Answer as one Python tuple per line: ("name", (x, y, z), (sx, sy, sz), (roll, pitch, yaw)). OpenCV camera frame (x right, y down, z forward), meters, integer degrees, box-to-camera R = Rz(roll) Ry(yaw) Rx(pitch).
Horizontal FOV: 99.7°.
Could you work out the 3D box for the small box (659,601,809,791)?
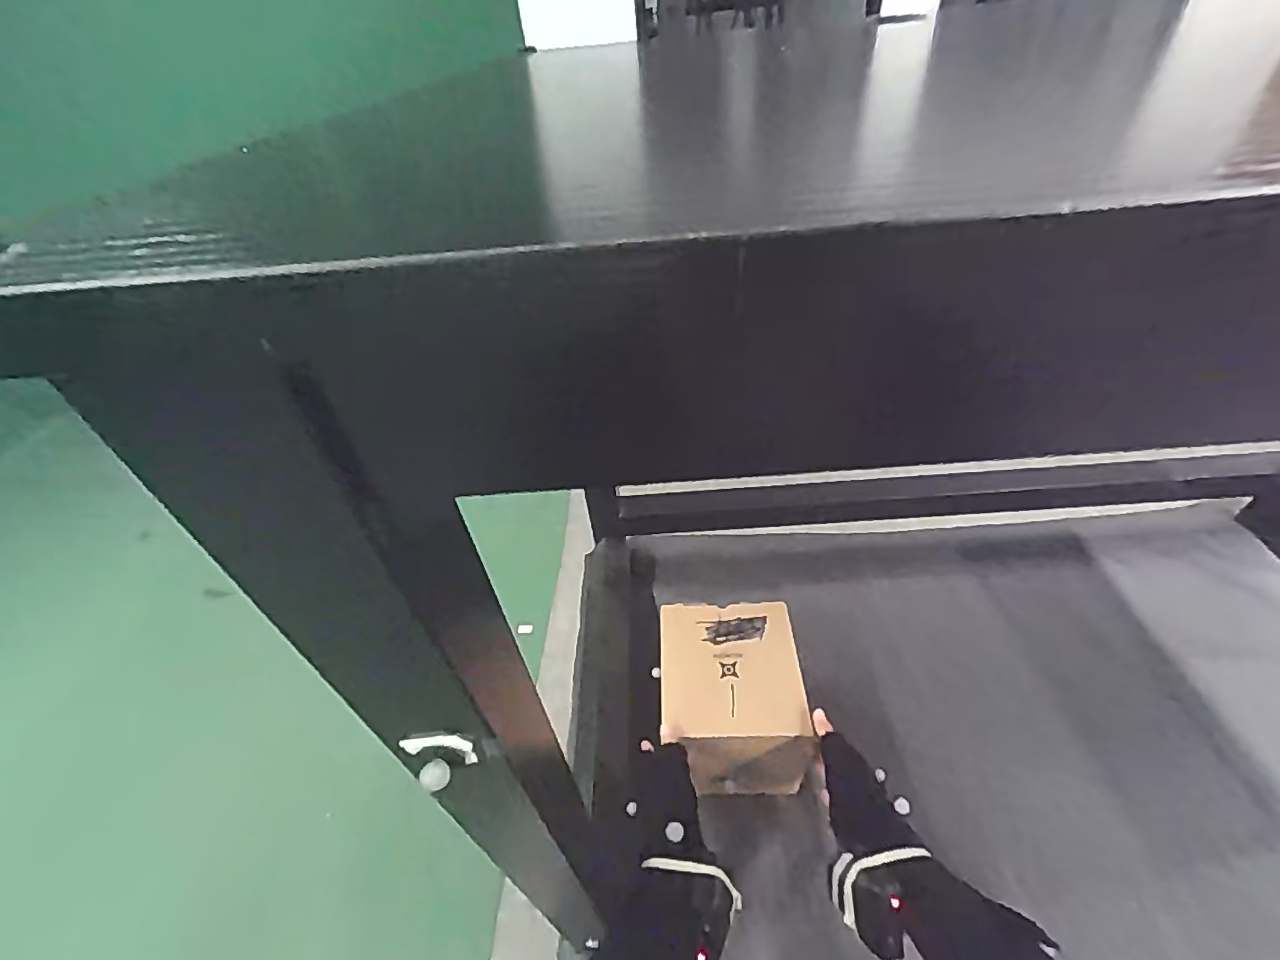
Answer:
("small box", (0.110, 0.279, 0.703), (0.168, 0.176, 0.179), (-3, 42, 4))
